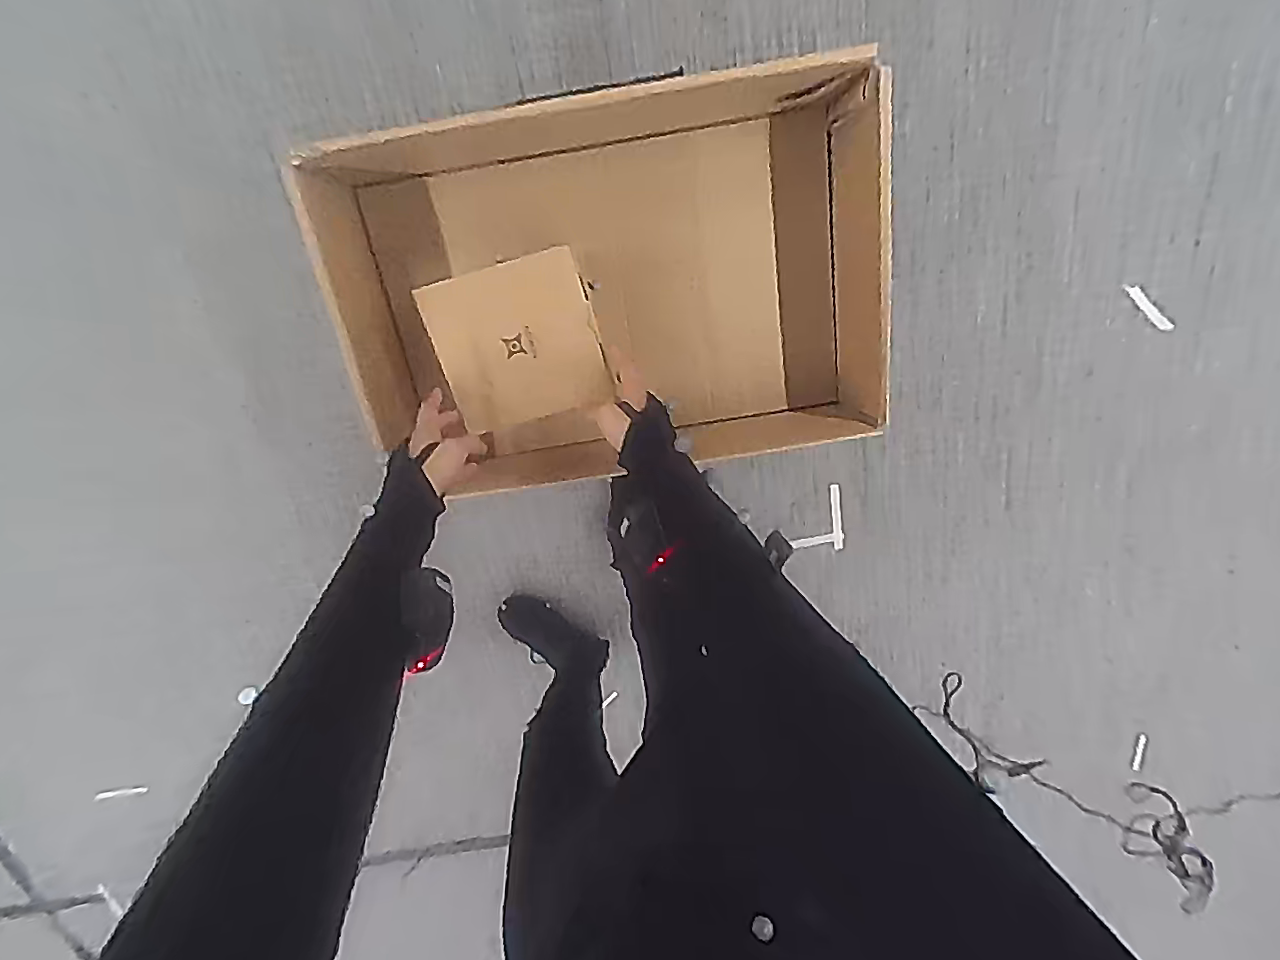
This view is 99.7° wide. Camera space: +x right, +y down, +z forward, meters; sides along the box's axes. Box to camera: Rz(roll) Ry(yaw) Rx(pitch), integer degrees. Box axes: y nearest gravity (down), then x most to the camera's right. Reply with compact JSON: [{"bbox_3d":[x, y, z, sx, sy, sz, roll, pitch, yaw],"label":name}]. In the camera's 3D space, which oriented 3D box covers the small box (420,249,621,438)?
[{"bbox_3d":[-0.128,-0.169,0.653,0.179,0.176,0.168,-15,109,4],"label":"small box"}]
